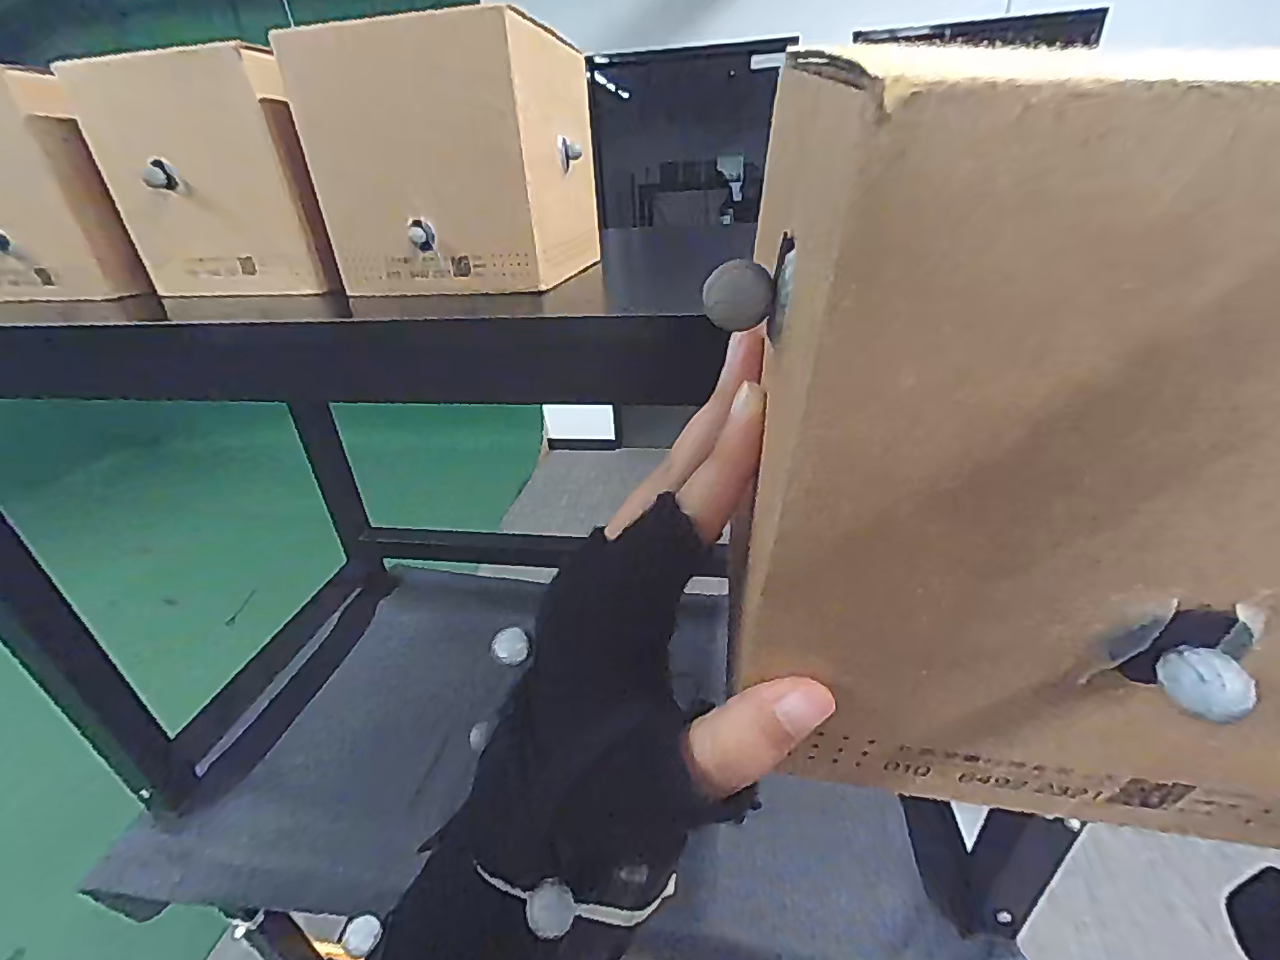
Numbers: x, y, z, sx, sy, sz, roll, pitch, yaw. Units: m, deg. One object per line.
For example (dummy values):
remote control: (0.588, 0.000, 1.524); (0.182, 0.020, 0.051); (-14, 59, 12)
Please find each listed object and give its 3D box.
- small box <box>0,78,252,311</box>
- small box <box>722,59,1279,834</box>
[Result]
small box: (-0.522, -0.268, 0.521); (0.168, 0.176, 0.179); (3, 31, 10)
small box: (0.118, -0.022, 0.169); (0.168, 0.176, 0.179); (6, 39, 6)
